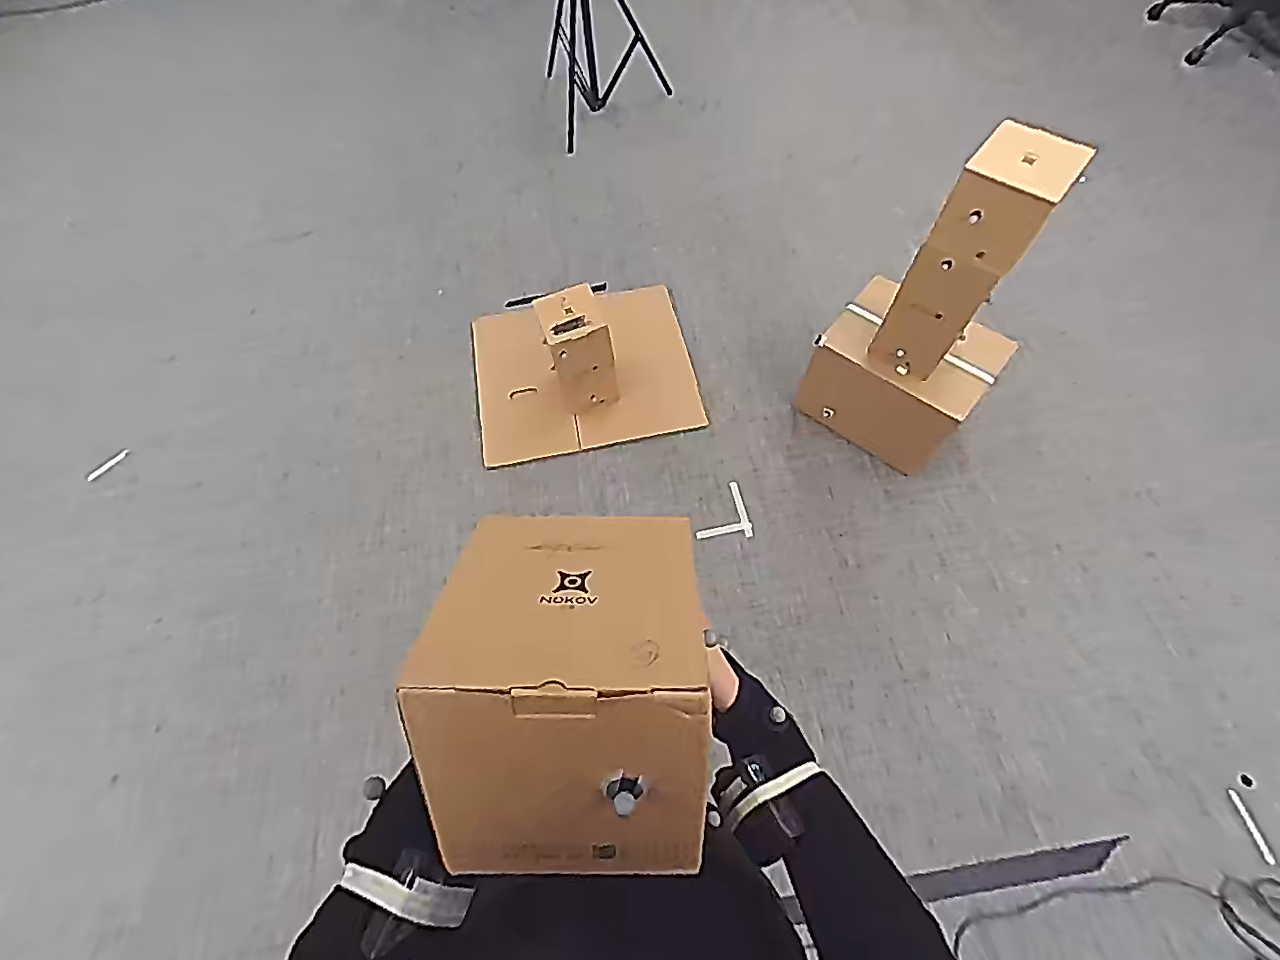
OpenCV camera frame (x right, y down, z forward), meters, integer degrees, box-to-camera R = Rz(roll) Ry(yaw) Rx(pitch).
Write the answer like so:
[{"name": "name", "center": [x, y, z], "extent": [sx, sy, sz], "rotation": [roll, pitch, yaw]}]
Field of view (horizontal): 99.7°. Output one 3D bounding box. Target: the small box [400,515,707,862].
[{"name": "small box", "center": [-0.044, 0.140, 0.389], "extent": [0.168, 0.176, 0.179], "rotation": [0, 26, 0]}]

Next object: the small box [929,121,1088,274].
[{"name": "small box", "center": [0.684, -0.530, 1.028], "extent": [0.168, 0.176, 0.179], "rotation": [35, 70, 18]}]

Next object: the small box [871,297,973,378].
[{"name": "small box", "center": [0.695, -0.387, 1.321], "extent": [0.168, 0.176, 0.179], "rotation": [35, 71, 18]}]

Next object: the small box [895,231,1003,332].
[{"name": "small box", "center": [0.690, -0.462, 1.176], "extent": [0.168, 0.176, 0.179], "rotation": [35, 70, 19]}]

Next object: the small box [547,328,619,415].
[{"name": "small box", "center": [-0.172, -0.331, 1.673], "extent": [0.168, 0.176, 0.179], "rotation": [-20, 65, -4]}]
